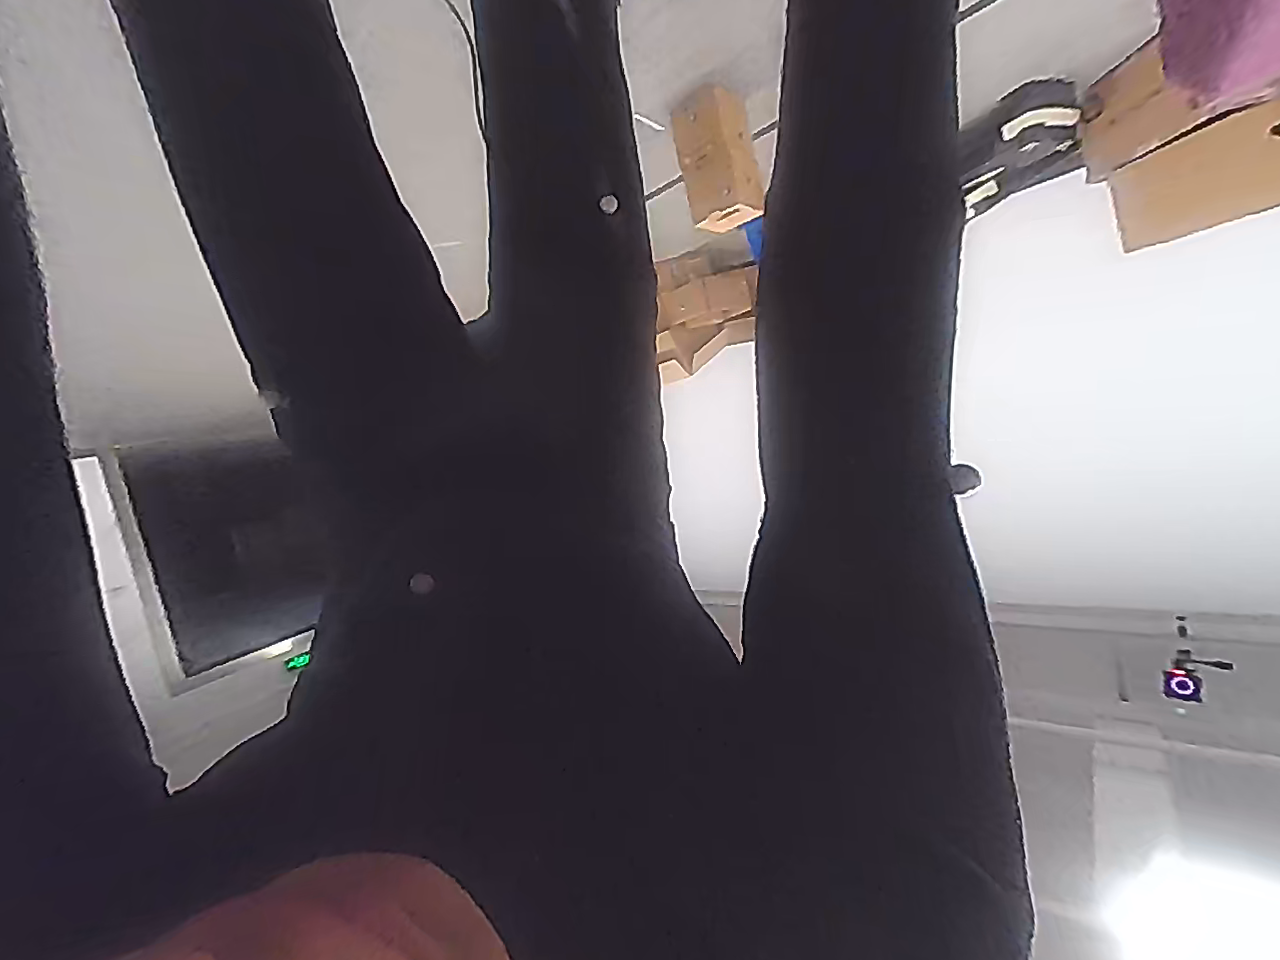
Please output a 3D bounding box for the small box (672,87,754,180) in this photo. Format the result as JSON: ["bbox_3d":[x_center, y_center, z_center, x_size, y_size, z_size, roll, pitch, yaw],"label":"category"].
[{"bbox_3d":[0.219,-1.039,1.628,0.168,0.176,0.179,-6,-173,44],"label":"small box"}]
